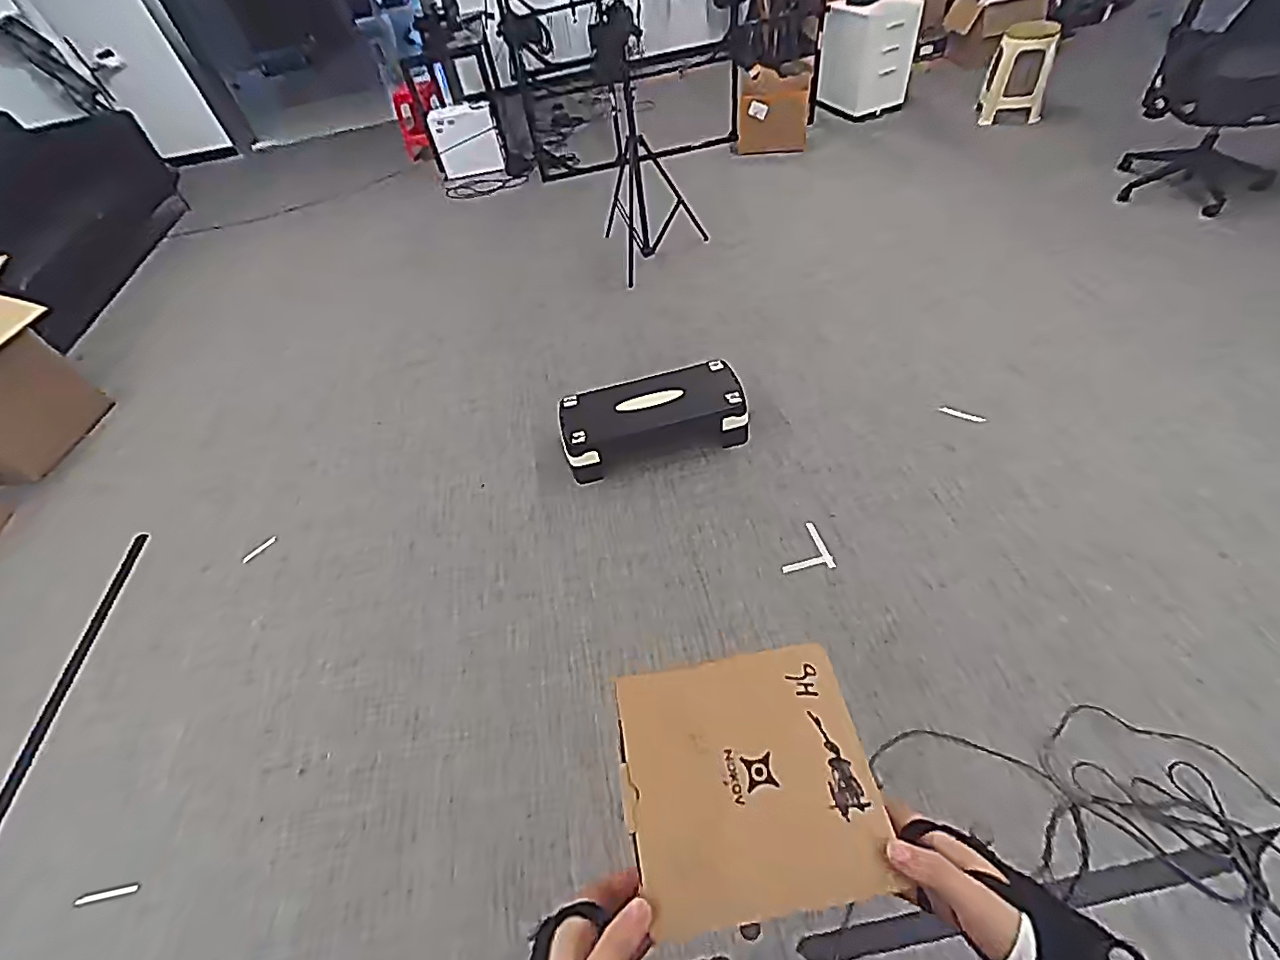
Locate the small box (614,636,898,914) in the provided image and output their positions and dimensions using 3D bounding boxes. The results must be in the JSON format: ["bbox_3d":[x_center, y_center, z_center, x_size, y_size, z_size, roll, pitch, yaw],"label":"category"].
[{"bbox_3d":[0.082,0.256,0.463,0.179,0.176,0.168,-10,53,-2],"label":"small box"}]

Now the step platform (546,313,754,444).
[{"bbox_3d":[0.036,-0.344,1.846,0.684,0.204,0.286,-14,49,-3],"label":"step platform"}]
